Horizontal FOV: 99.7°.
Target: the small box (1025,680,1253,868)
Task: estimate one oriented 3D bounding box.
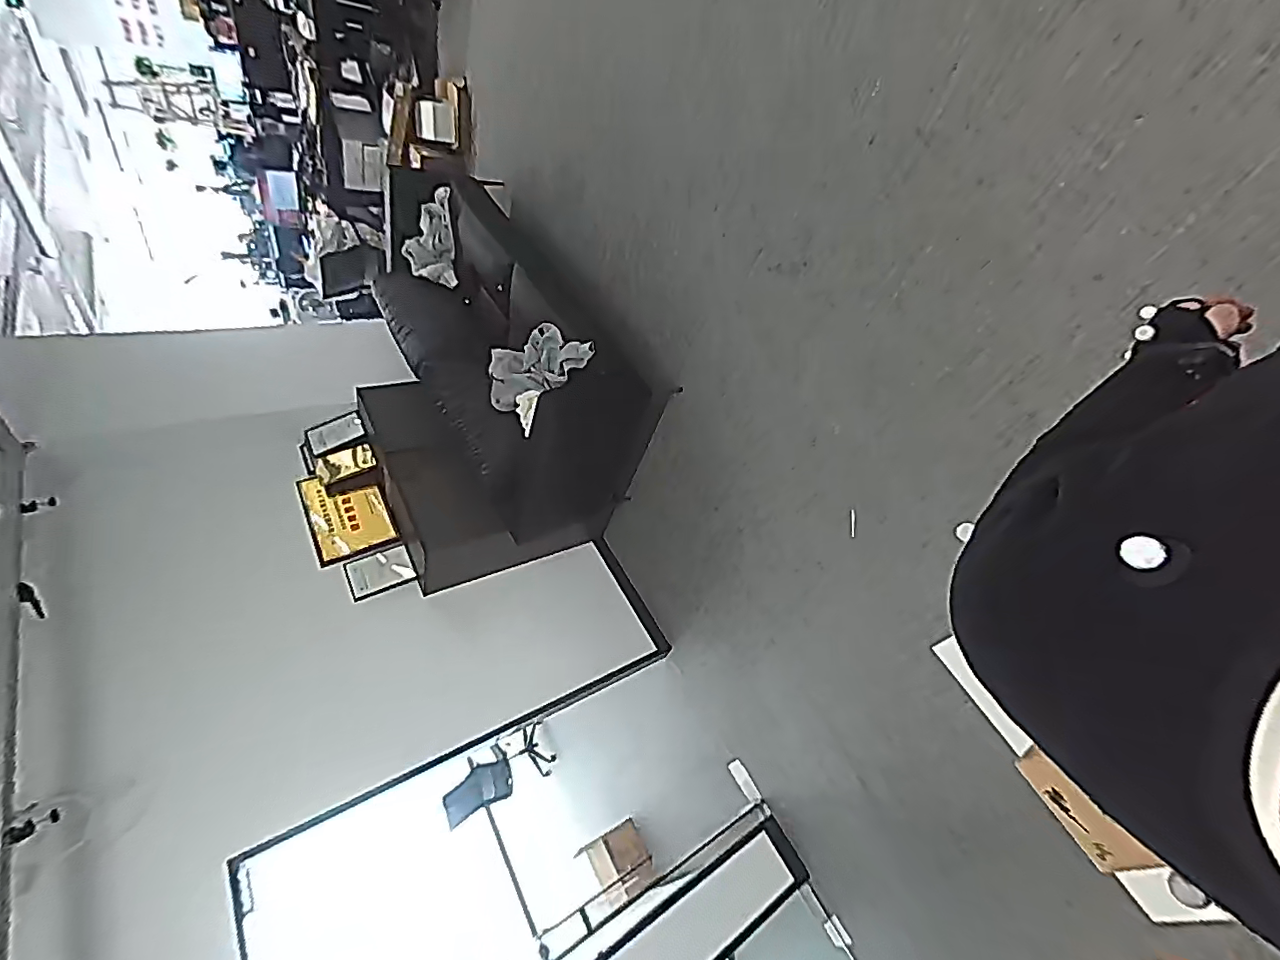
[{"bbox_3d":[0.735,0.427,0.799,0.168,0.176,0.179,55,142,27],"label":"small box"}]
